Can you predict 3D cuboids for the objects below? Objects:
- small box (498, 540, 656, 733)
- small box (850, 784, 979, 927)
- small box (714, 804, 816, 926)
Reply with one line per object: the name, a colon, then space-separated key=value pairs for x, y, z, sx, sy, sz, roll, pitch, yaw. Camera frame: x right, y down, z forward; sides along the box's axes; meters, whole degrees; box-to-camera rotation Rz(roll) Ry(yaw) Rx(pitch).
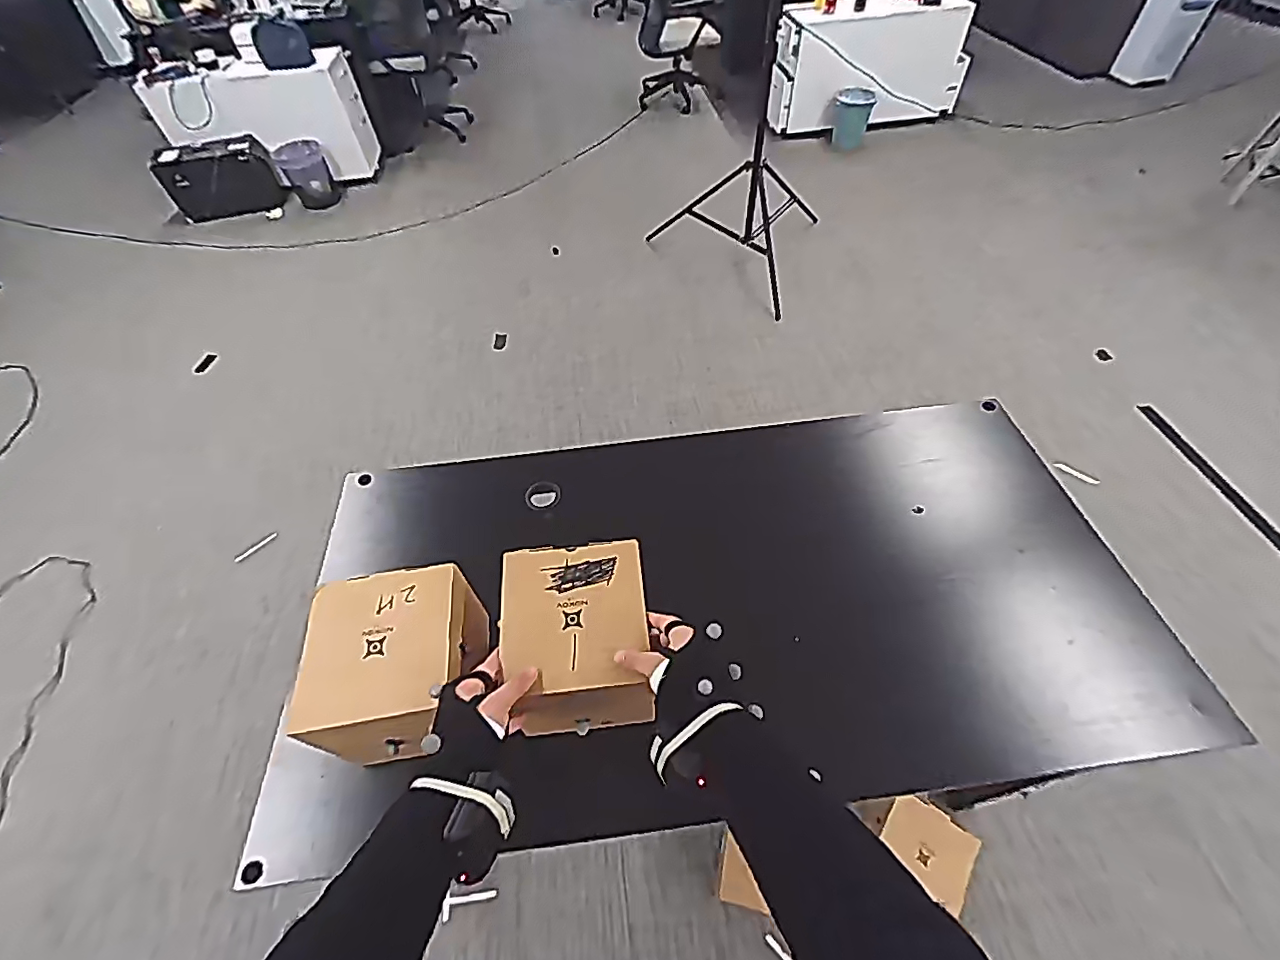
small box: x=-0.073 y=0.196 z=0.673 sx=0.168 sy=0.176 sz=0.179 roll=-6 pitch=54 yaw=-3
small box: x=0.560 y=0.777 z=1.124 sx=0.168 sy=0.176 sz=0.179 roll=29 pitch=59 yaw=23
small box: x=0.257 y=0.799 z=1.128 sx=0.179 sy=0.176 sz=0.168 roll=9 pitch=53 yaw=11
